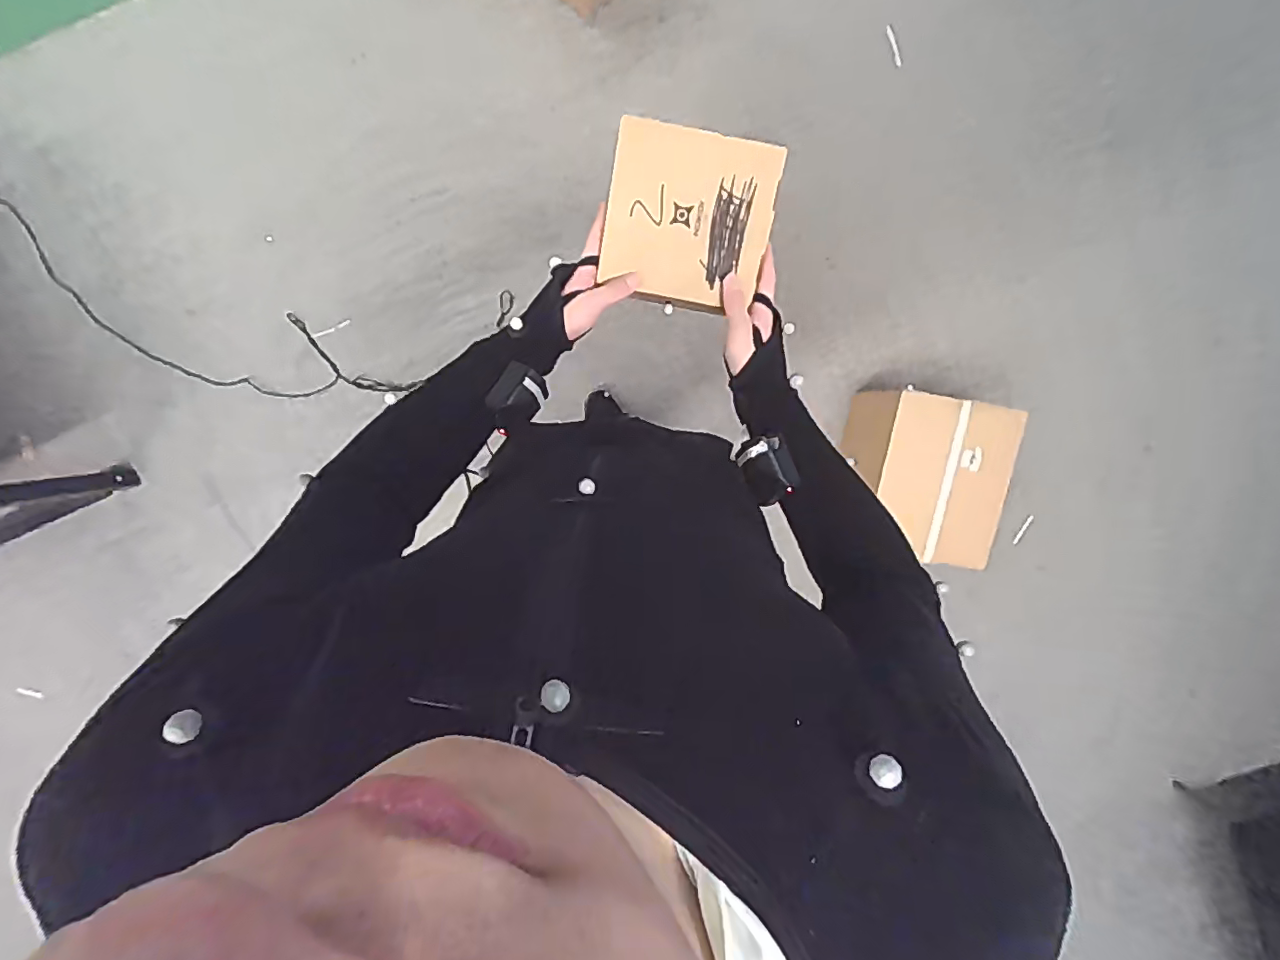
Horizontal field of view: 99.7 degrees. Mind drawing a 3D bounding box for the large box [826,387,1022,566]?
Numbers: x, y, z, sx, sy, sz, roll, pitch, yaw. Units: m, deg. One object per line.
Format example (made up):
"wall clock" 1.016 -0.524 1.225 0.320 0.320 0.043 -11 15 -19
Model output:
"large box" 0.734 -0.019 1.460 0.320 0.320 0.408 10 97 -2
